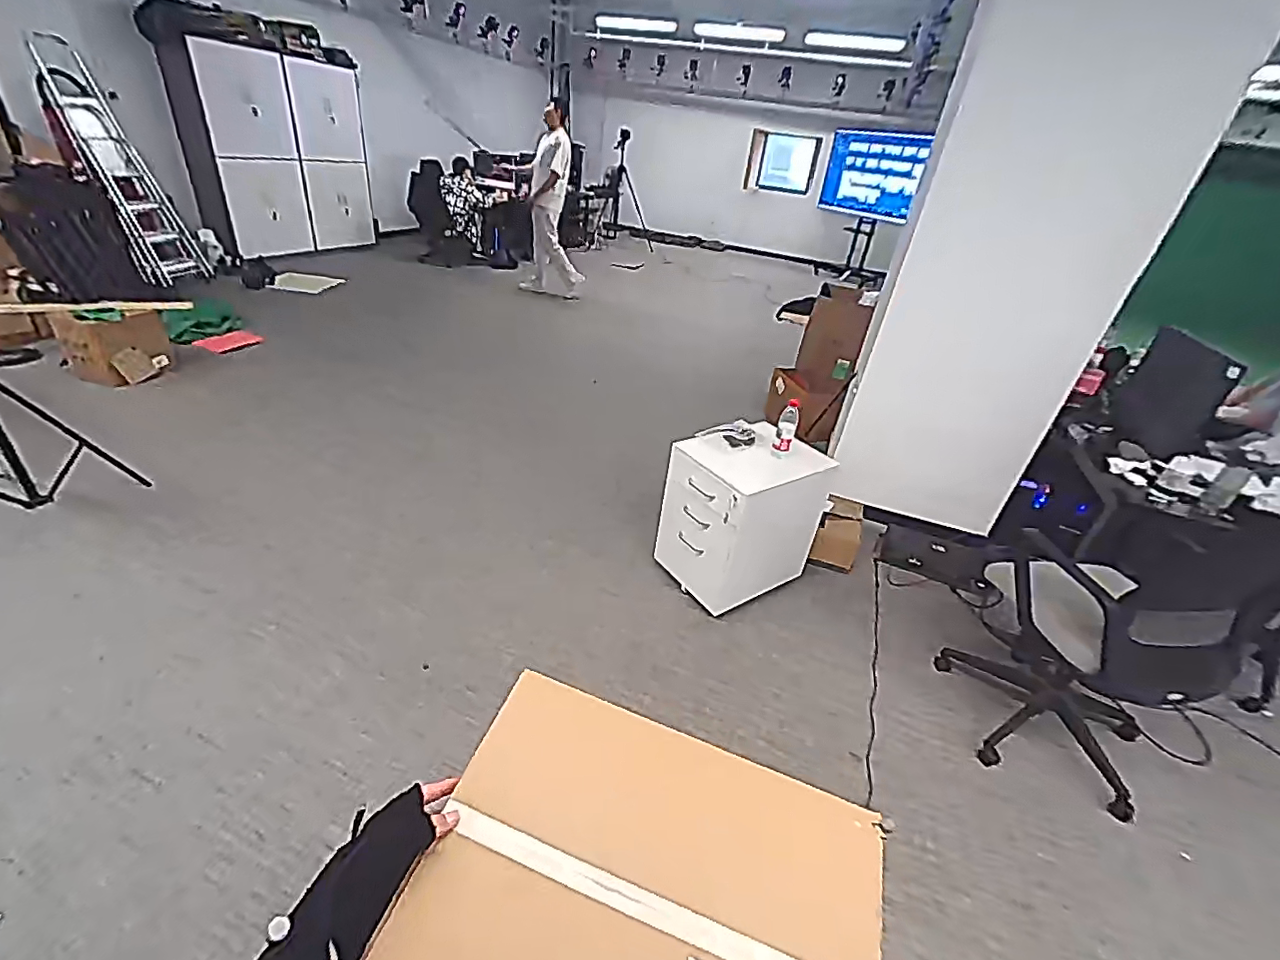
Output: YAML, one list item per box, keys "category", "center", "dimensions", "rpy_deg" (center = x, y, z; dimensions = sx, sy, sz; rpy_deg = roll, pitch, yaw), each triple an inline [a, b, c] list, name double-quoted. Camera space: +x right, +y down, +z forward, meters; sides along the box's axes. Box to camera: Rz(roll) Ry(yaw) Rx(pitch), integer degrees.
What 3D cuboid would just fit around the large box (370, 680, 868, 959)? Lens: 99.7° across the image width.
- category: "large box"
  center: [-0.018, 0.490, 0.583]
  dimensions: [0.408, 0.320, 0.320]
  rpy_deg: [19, 43, 10]
